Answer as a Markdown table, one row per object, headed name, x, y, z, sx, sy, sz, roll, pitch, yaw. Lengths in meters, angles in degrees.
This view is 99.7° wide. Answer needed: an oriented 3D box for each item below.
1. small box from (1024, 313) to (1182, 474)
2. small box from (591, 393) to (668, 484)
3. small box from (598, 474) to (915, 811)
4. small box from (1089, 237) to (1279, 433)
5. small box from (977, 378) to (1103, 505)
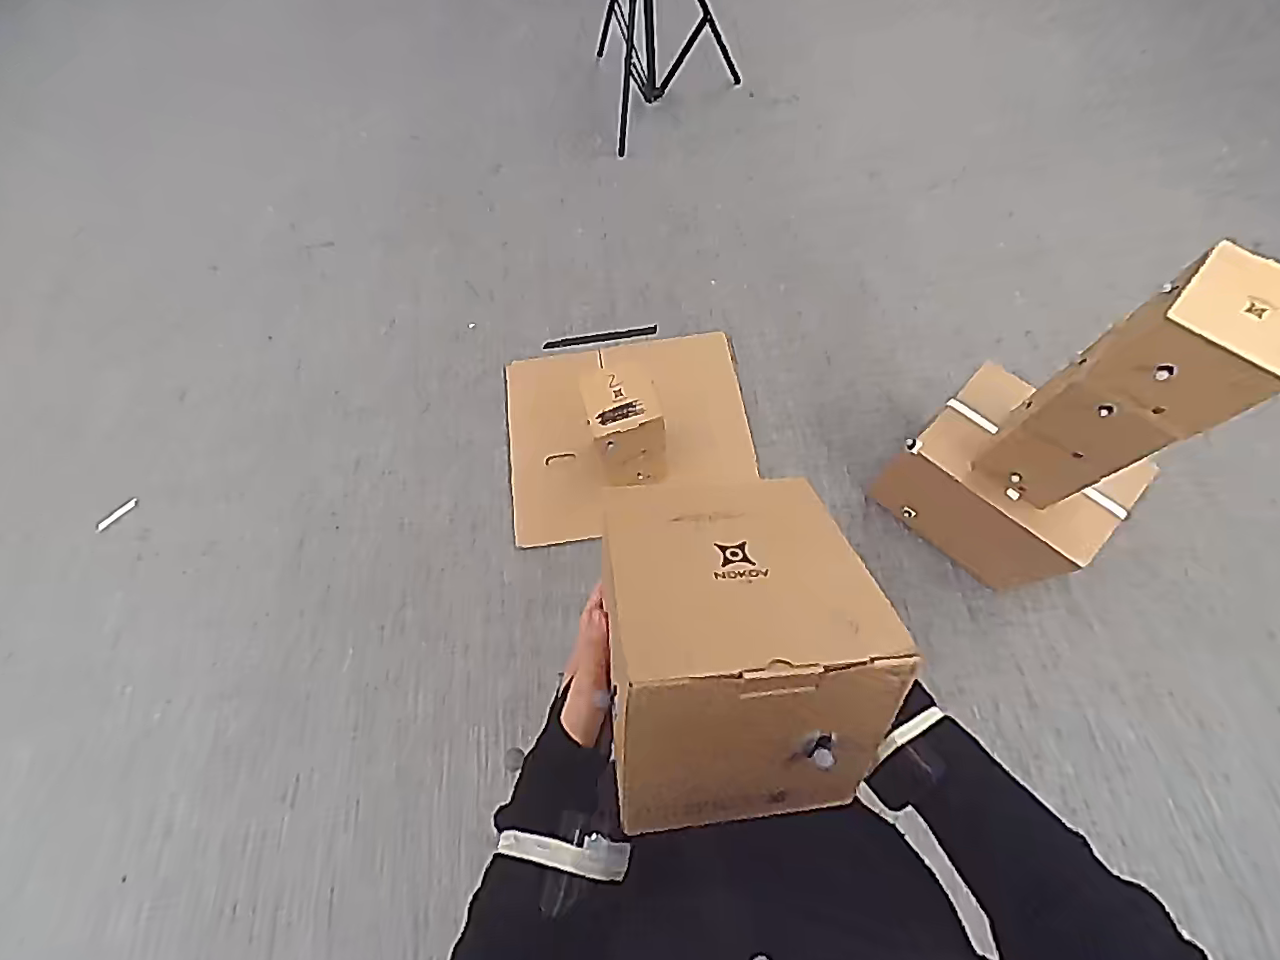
| name | x | y | z | sx | sy | sz | roll | pitch | yaw |
| --- | --- | --- | --- | --- | --- | --- | --- | --- | --- |
| small box | 0.818 | -0.143 | 0.934 | 0.168 | 0.176 | 0.179 | 40 | 76 | 17 |
| small box | -0.026 | -0.105 | 1.476 | 0.168 | 0.176 | 0.179 | -17 | 69 | 0 |
| small box | 0.058 | 0.115 | 0.398 | 0.168 | 0.176 | 0.179 | -3 | 34 | -9 |
| small box | 0.809 | -0.199 | 0.781 | 0.168 | 0.176 | 0.179 | 40 | 76 | 17 |
| small box | 0.826 | -0.081 | 1.085 | 0.168 | 0.176 | 0.179 | 40 | 77 | 17 |
